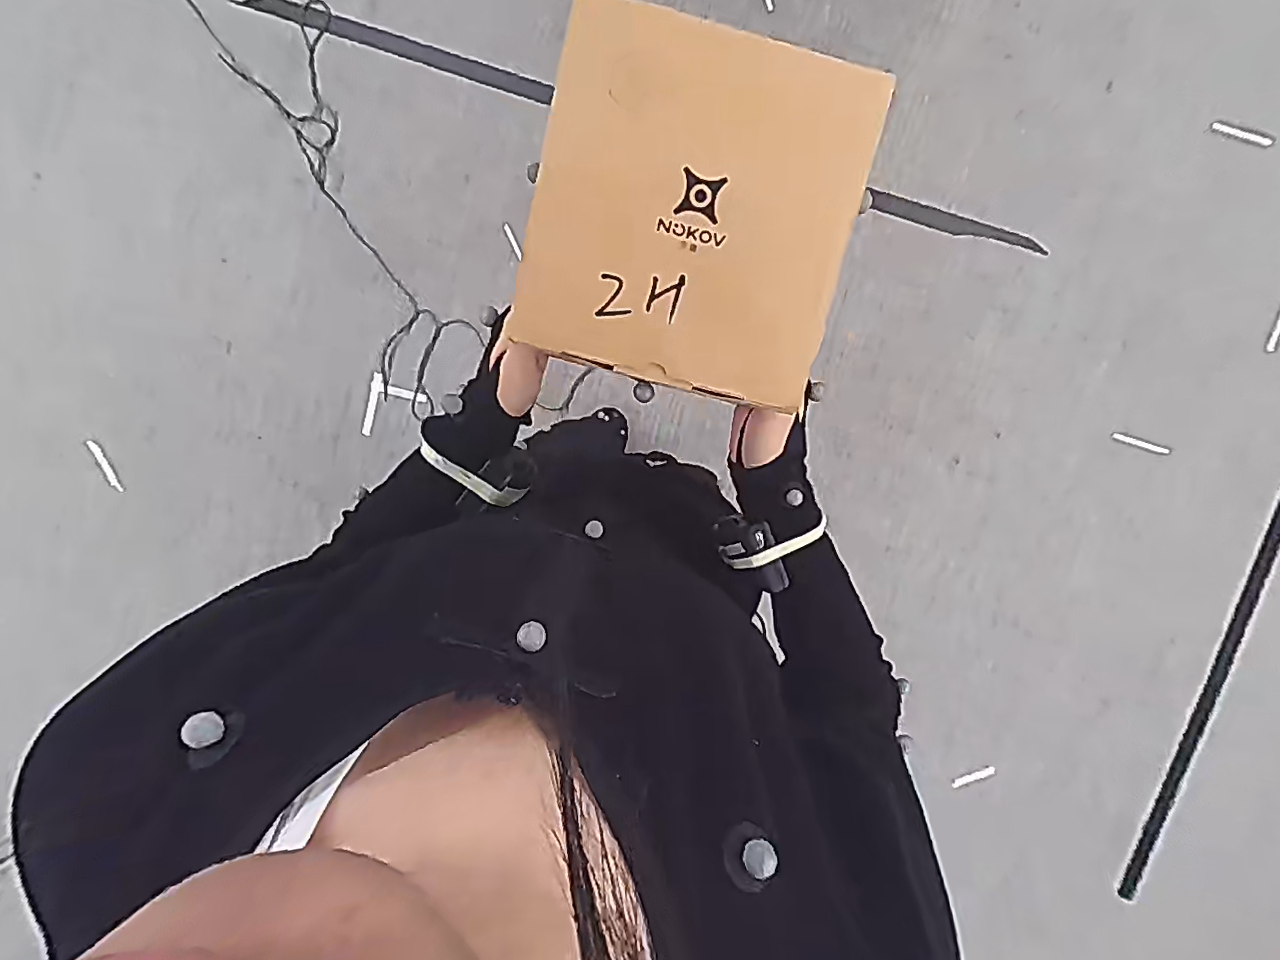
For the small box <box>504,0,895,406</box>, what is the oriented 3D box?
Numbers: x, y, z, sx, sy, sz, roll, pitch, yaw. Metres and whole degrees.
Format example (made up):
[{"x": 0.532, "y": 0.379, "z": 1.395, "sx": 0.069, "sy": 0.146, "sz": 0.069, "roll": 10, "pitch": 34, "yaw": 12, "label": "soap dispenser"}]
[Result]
[{"x": 0.026, "y": -0.154, "z": 0.352, "sx": 0.168, "sy": 0.176, "sz": 0.179, "roll": 14, "pitch": 99, "yaw": -3, "label": "small box"}]
